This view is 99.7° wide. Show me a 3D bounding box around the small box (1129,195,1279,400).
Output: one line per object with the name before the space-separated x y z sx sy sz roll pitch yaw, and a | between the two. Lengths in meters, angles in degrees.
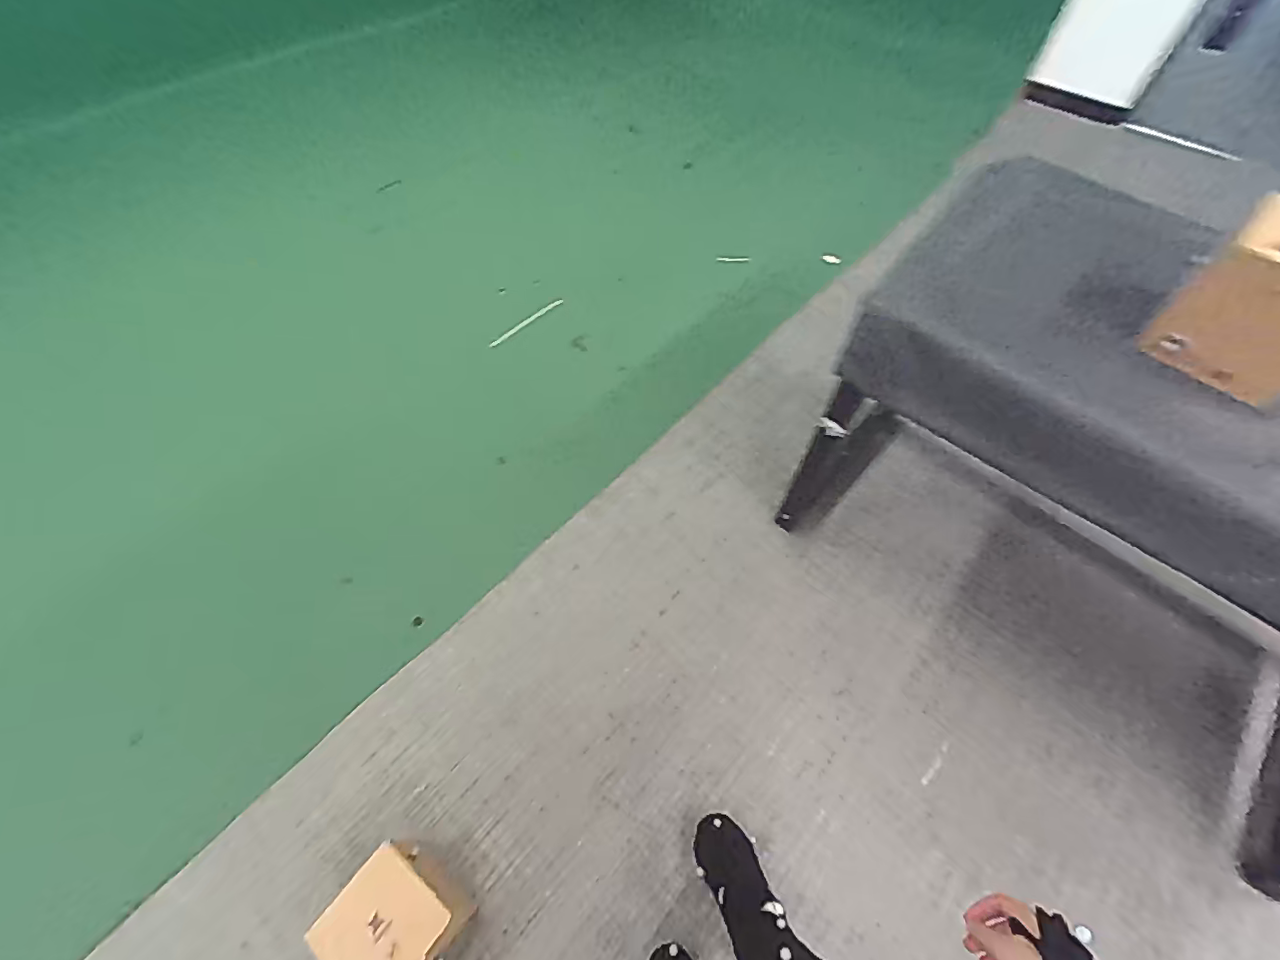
small box | 0.825 -0.241 0.730 0.179 0.176 0.168 -39 66 -24

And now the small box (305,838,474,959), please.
small box | -0.419 0.758 0.932 0.179 0.176 0.168 33 63 19
